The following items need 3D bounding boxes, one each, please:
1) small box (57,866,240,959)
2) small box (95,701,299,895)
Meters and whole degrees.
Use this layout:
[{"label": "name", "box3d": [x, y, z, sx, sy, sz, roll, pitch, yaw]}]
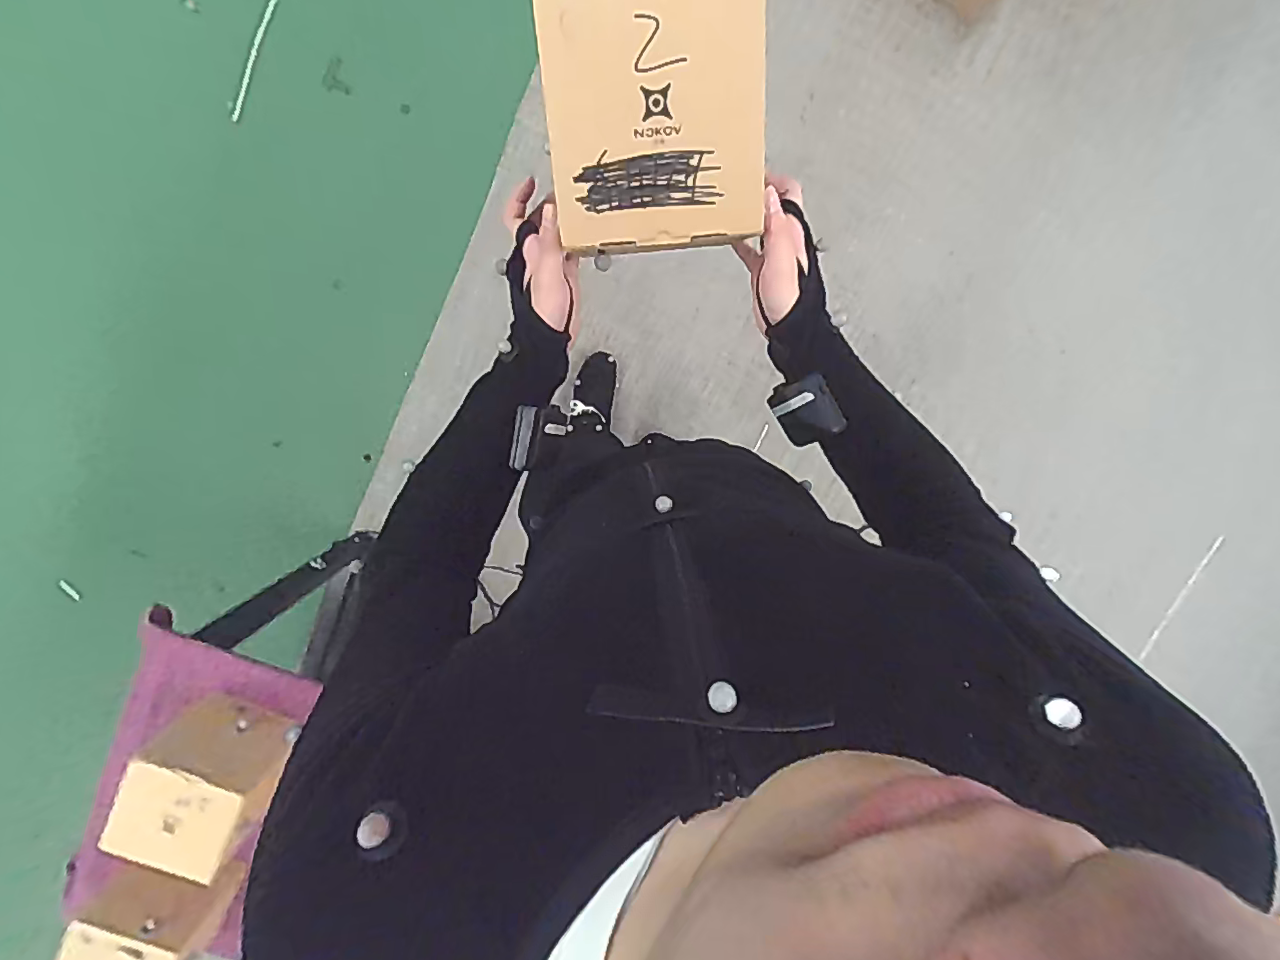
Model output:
[{"label": "small box", "box3d": [-0.831, 0.776, 0.916, 0.168, 0.176, 0.179, 26, 99, -7]}, {"label": "small box", "box3d": [-0.689, 0.496, 0.864, 0.168, 0.176, 0.179, 26, 99, -8]}]
